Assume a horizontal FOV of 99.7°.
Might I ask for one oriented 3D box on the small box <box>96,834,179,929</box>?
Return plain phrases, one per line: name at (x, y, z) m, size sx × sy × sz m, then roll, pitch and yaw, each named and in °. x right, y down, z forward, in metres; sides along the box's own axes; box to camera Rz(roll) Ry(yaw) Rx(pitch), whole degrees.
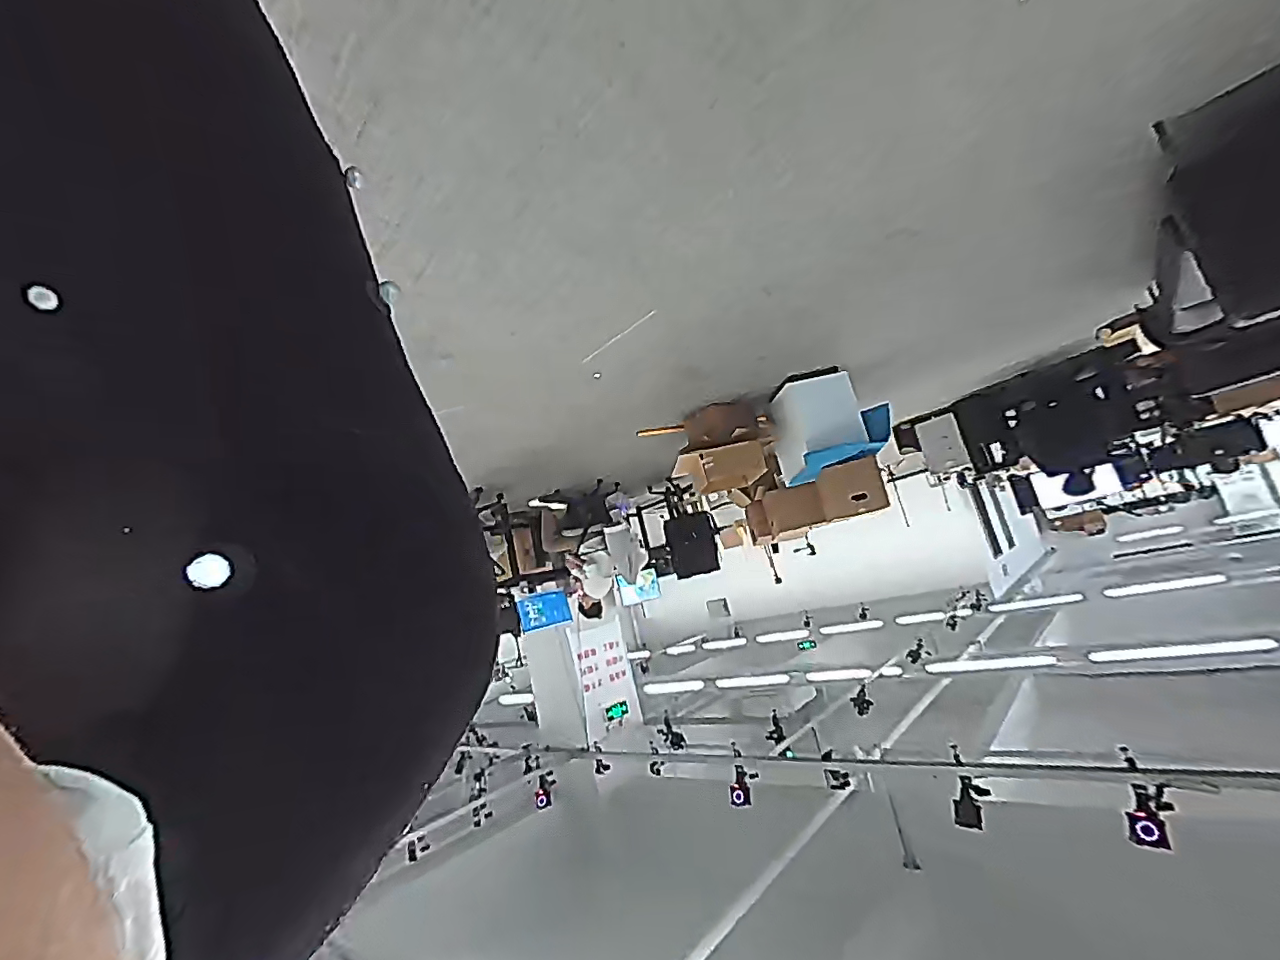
small box at (-1.561, 1.232, 1.675) m, size 0.179 × 0.176 × 0.168 m, roll -20°, pitch 168°, yaw 38°
